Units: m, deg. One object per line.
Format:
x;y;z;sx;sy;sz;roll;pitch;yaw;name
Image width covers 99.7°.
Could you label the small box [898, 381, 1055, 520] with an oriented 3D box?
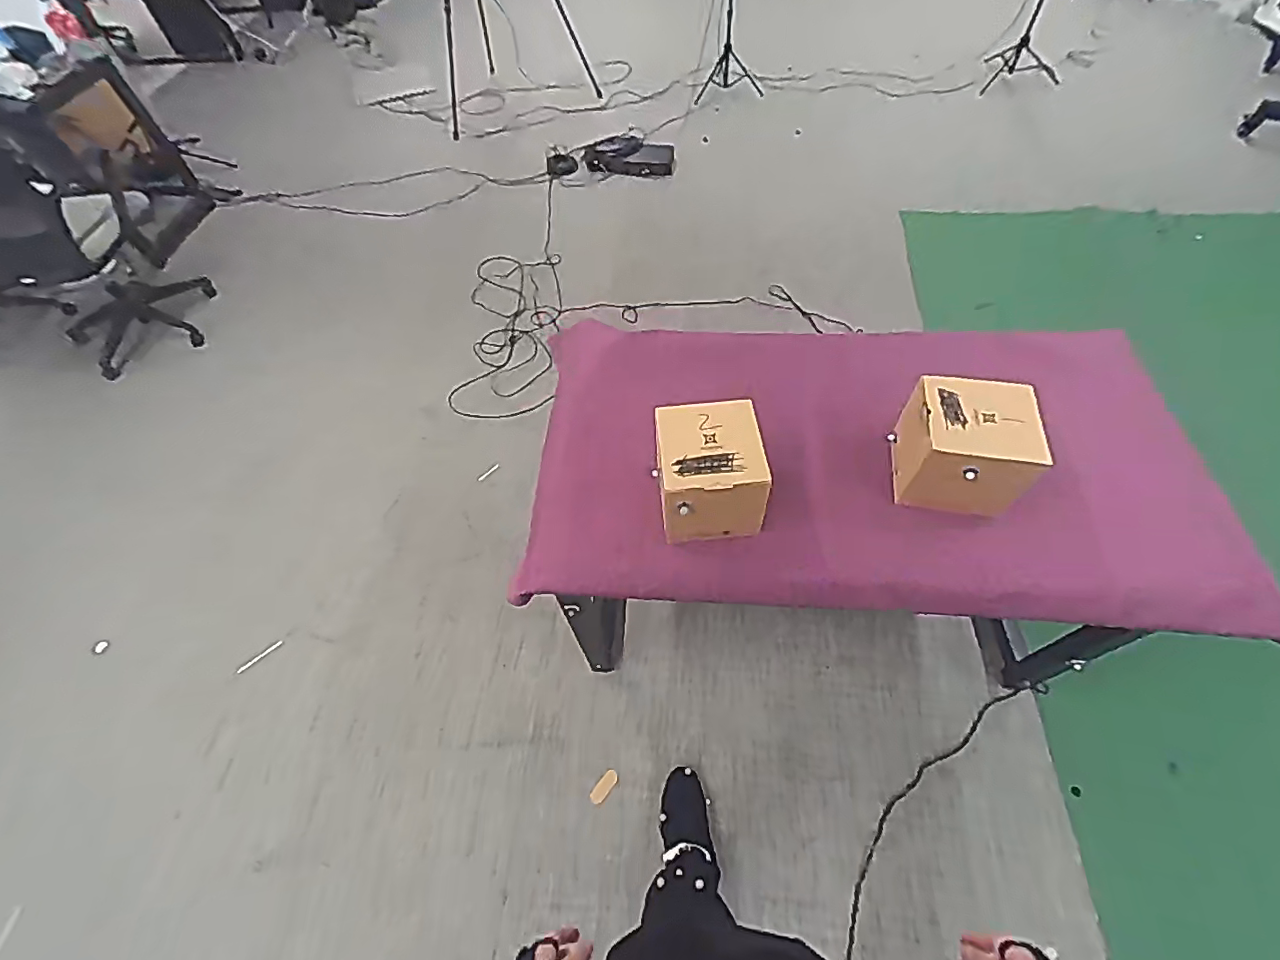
0.558;-0.046;0.931;0.179;0.176;0.168;8;57;9;small box
